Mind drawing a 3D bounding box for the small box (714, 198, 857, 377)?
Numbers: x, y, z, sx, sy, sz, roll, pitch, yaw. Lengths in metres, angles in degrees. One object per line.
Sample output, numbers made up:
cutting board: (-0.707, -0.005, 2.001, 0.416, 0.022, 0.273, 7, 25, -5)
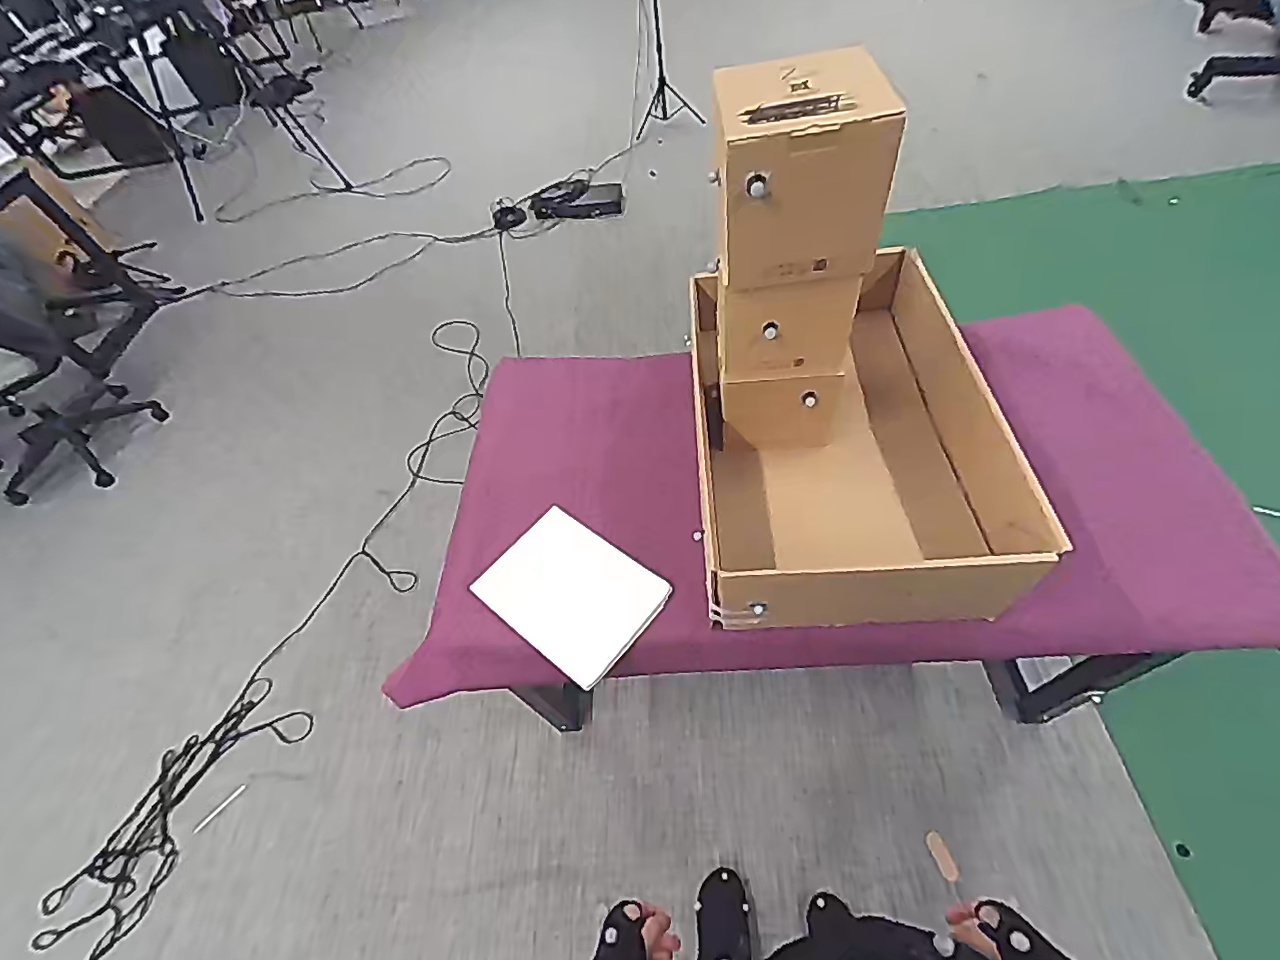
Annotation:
small box: (0.192, -0.258, 0.756, 0.168, 0.176, 0.179, -3, 55, 8)
